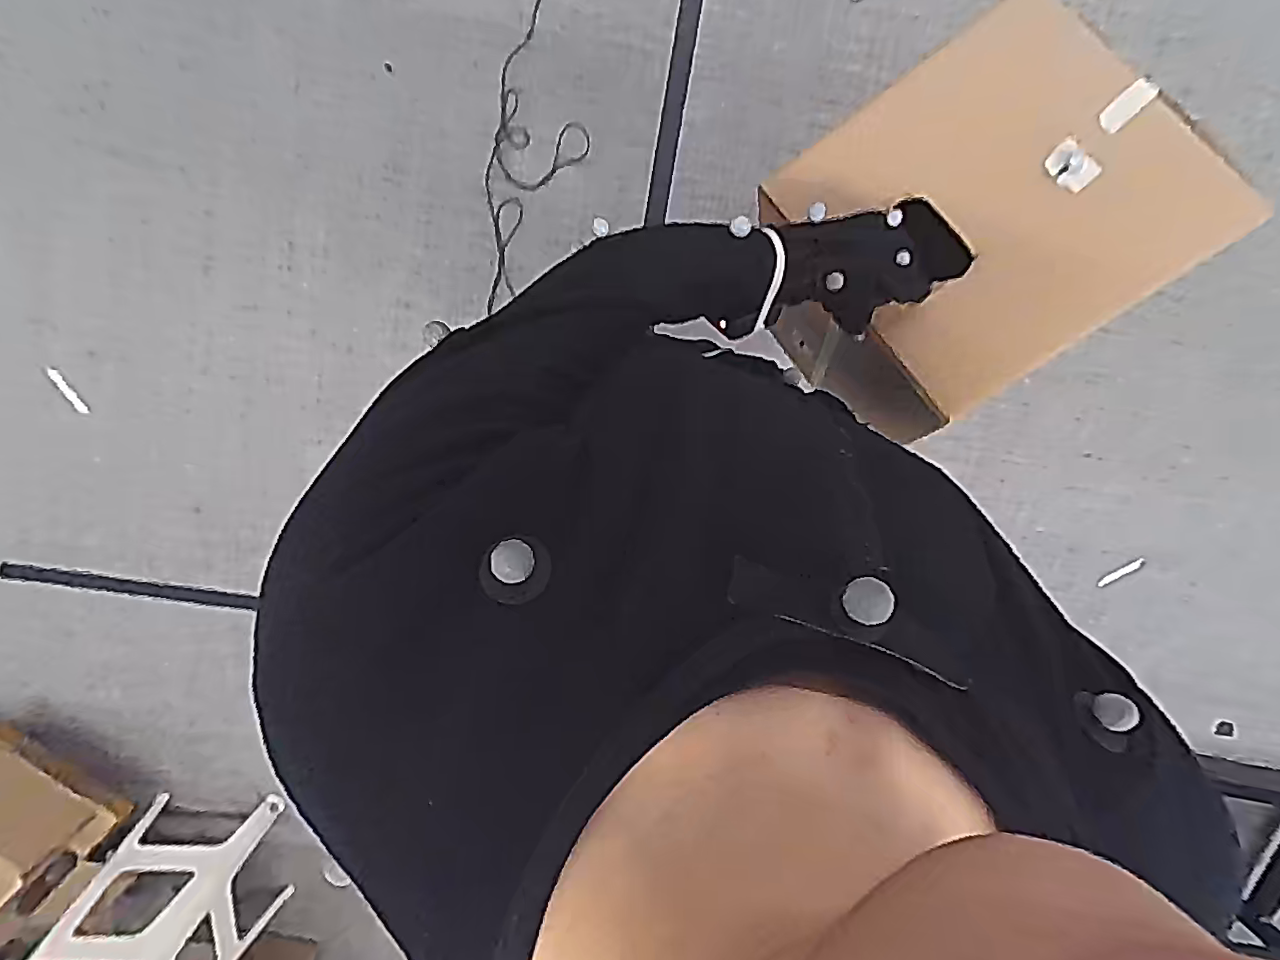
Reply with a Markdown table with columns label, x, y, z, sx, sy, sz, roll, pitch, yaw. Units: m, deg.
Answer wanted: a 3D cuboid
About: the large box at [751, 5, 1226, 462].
| label | x | y | z | sx | sy | sz | roll | pitch | yaw |
| --- | --- | --- | --- | --- | --- | --- | --- | --- | --- |
| large box | 0.369 | -0.252 | 0.711 | 0.320 | 0.408 | 0.320 | -33 | 79 | 10 |
